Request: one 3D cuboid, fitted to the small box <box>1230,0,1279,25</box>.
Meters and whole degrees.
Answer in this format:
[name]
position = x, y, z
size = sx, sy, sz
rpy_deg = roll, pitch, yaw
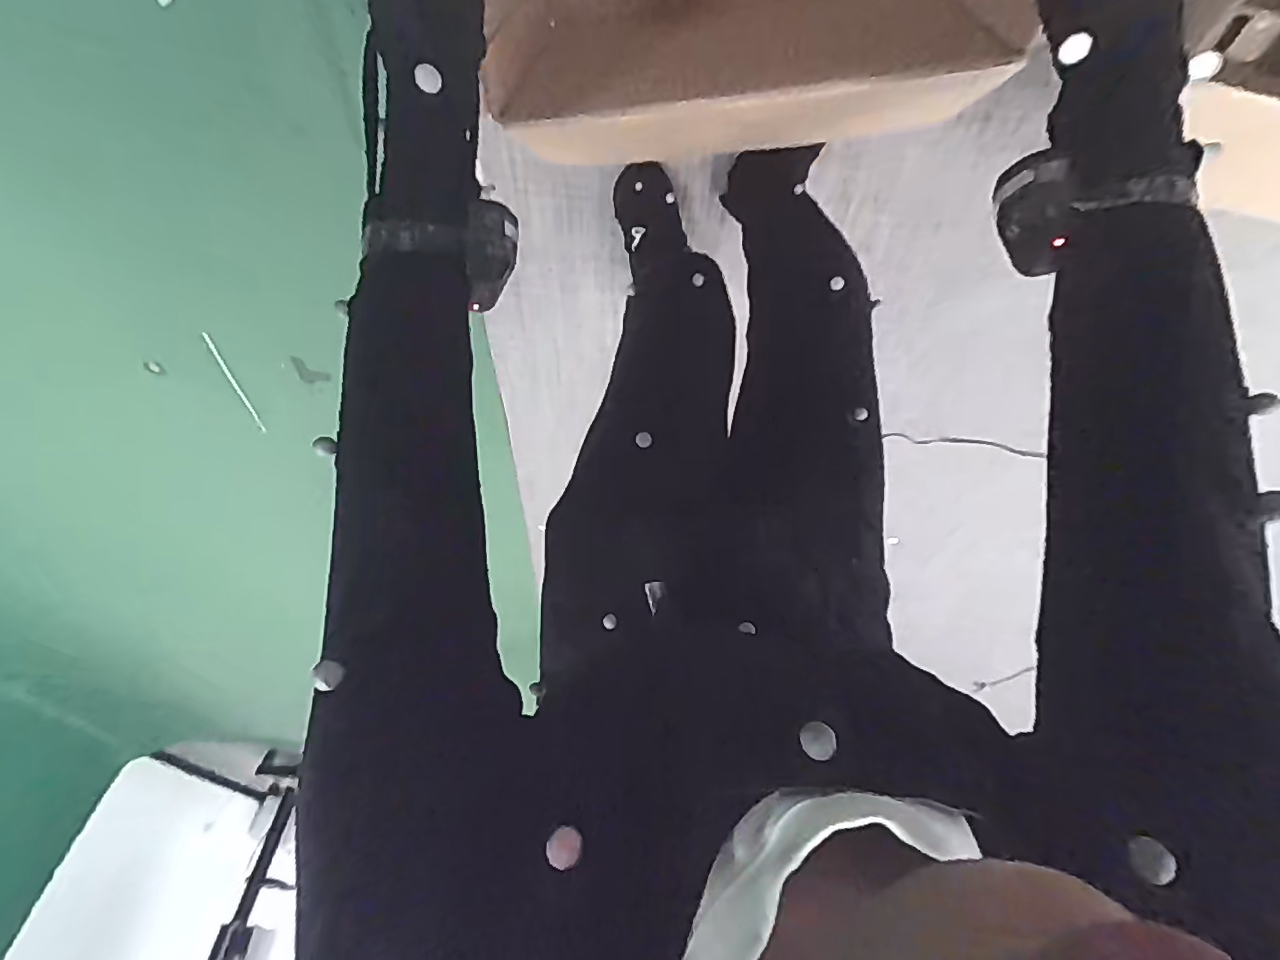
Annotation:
[small box]
position = 0.759, -0.522, 0.513
size = 0.179, 0.176, 0.168
rpy_deg = 9, 137, -4
